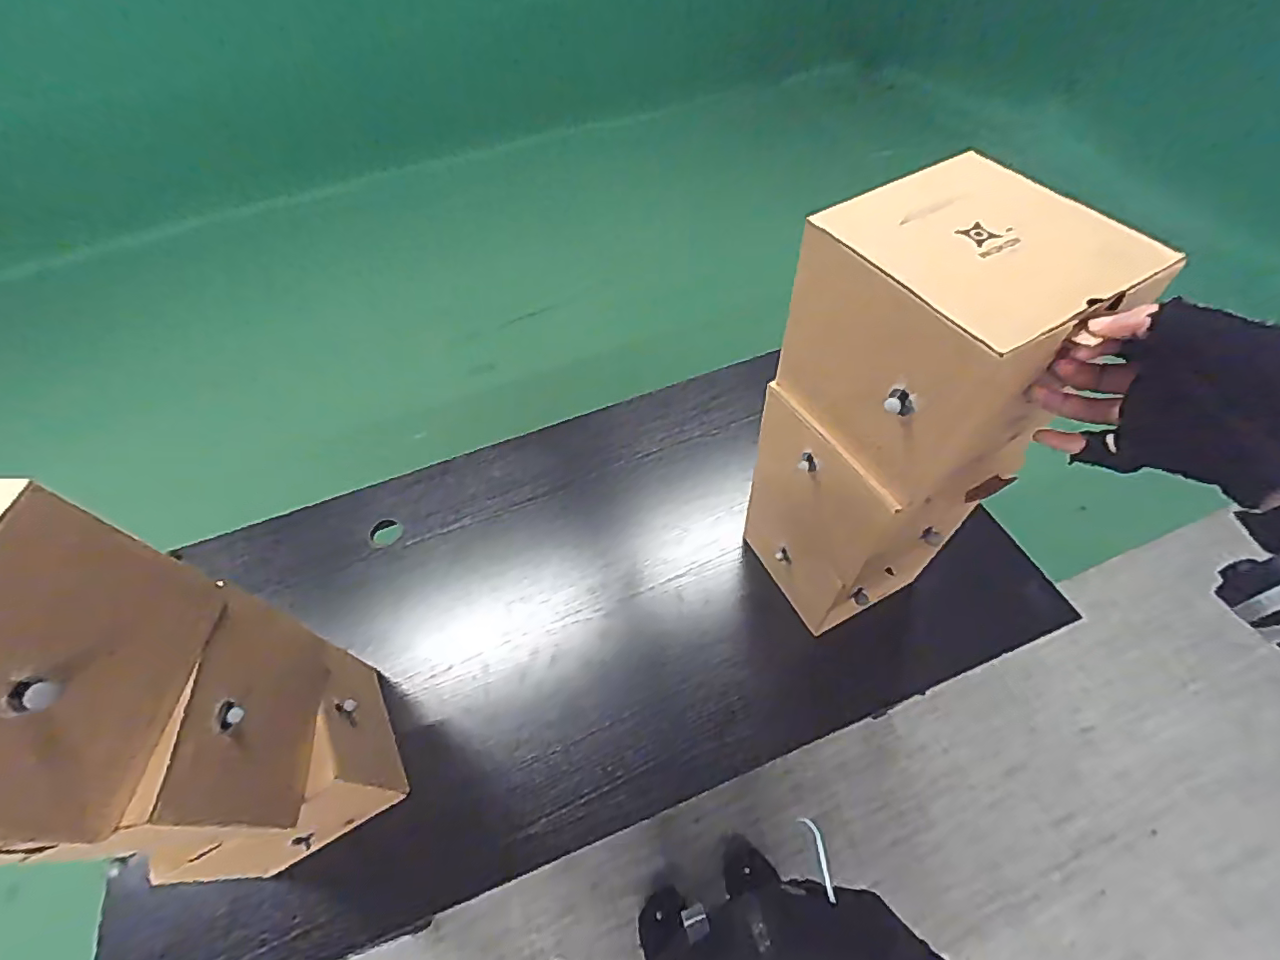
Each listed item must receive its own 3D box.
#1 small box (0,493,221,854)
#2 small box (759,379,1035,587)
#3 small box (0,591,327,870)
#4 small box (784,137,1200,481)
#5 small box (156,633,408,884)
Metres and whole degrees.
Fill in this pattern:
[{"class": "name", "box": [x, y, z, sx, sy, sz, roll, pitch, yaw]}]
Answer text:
[{"class": "small box", "box": [-0.418, 0.123, 0.333, 0.168, 0.176, 0.179, 0, 58, 3]}, {"class": "small box", "box": [0.243, -0.019, 0.569, 0.168, 0.176, 0.179, -27, 58, -12]}, {"class": "small box", "box": [-0.403, 0.218, 0.466, 0.168, 0.176, 0.179, -9, 56, -2]}, {"class": "small box", "box": [0.237, -0.122, 0.421, 0.168, 0.176, 0.179, -27, 57, -13]}, {"class": "small box", "box": [-0.389, 0.308, 0.603, 0.168, 0.176, 0.179, -27, 59, -14]}]
